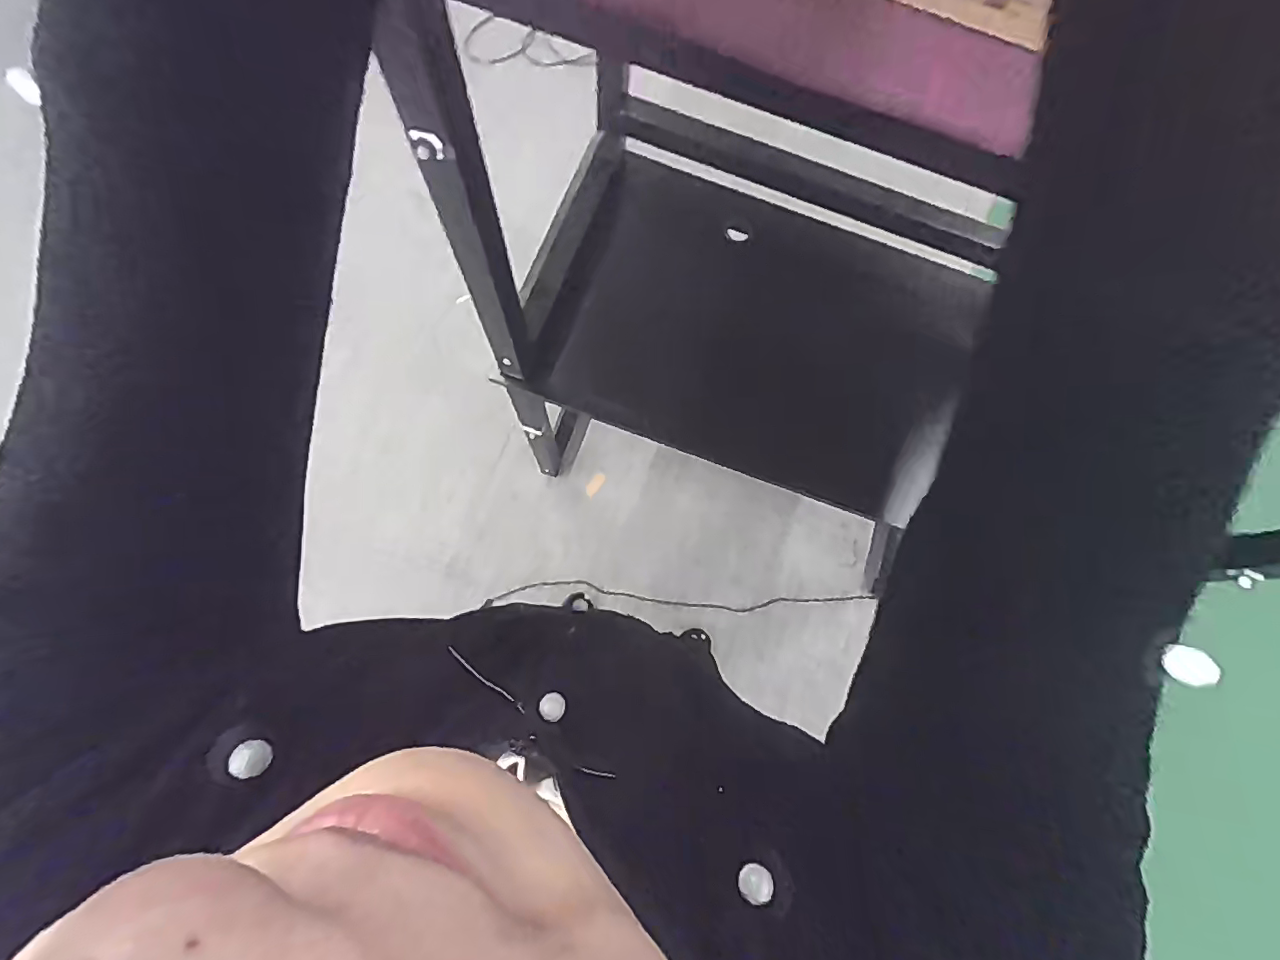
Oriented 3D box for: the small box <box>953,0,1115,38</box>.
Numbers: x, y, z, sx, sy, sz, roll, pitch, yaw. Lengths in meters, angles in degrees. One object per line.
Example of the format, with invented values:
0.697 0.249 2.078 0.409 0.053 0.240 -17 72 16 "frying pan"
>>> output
0.218 -0.376 0.266 0.168 0.176 0.179 20 74 1 "small box"
